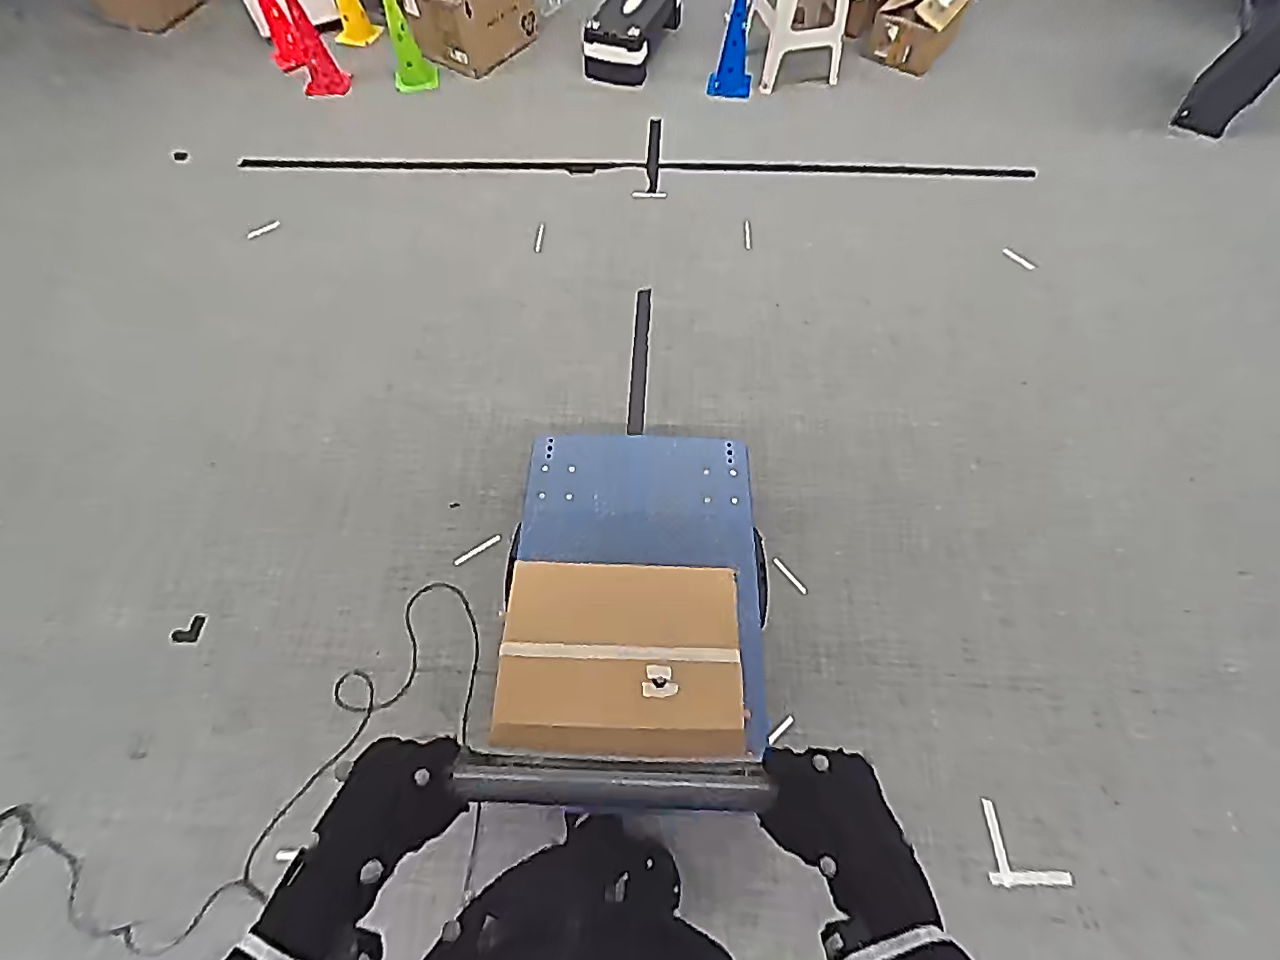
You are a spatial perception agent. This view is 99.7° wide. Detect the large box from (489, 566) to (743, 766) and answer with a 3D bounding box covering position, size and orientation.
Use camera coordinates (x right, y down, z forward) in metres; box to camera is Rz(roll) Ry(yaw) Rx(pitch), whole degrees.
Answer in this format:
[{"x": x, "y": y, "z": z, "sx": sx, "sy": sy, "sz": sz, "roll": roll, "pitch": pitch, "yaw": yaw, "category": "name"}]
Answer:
[{"x": -0.039, "y": 0.368, "z": 1.037, "sx": 0.408, "sy": 0.320, "sz": 0.320, "roll": 2, "pitch": 62, "yaw": 0, "category": "large box"}]
